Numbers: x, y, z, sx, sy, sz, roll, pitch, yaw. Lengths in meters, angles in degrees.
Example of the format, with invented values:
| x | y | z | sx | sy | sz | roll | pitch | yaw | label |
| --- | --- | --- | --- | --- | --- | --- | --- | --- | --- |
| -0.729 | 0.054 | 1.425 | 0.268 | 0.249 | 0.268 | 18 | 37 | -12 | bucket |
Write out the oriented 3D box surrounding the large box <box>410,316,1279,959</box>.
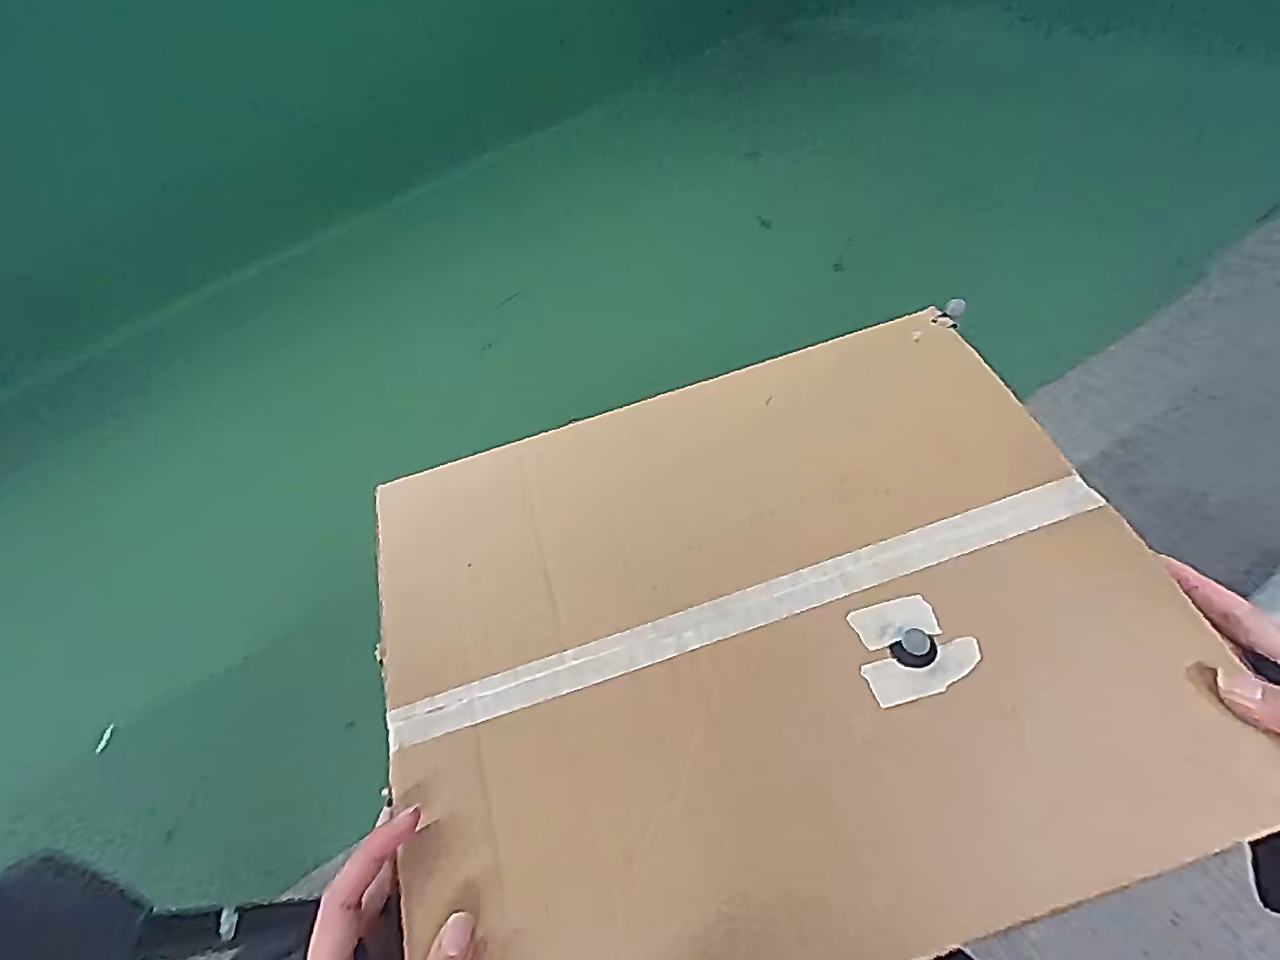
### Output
| x | y | z | sx | sy | sz | roll | pitch | yaw | label |
| --- | --- | --- | --- | --- | --- | --- | --- | --- | --- |
| 0.085 | 0.135 | 0.441 | 0.408 | 0.320 | 0.320 | -17 | 62 | -3 | large box |
